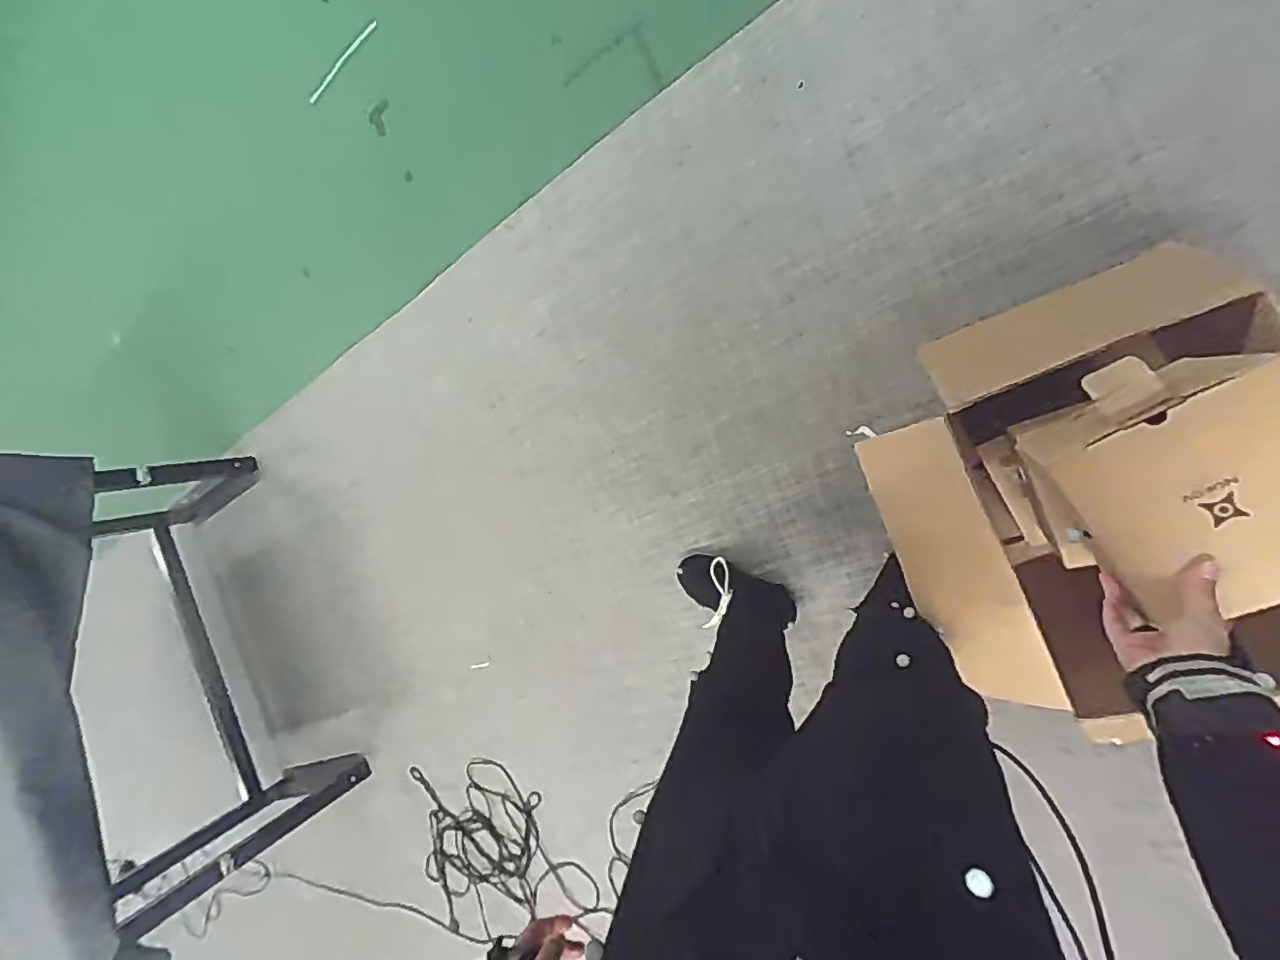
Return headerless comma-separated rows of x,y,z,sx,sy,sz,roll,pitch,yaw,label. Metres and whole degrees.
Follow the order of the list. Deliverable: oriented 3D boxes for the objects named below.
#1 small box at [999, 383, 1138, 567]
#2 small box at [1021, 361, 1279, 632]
0.564,-0.014,0.650,0.179,0.176,0.168,-20,90,29,small box
0.497,0.007,0.504,0.168,0.176,0.179,-34,82,28,small box
